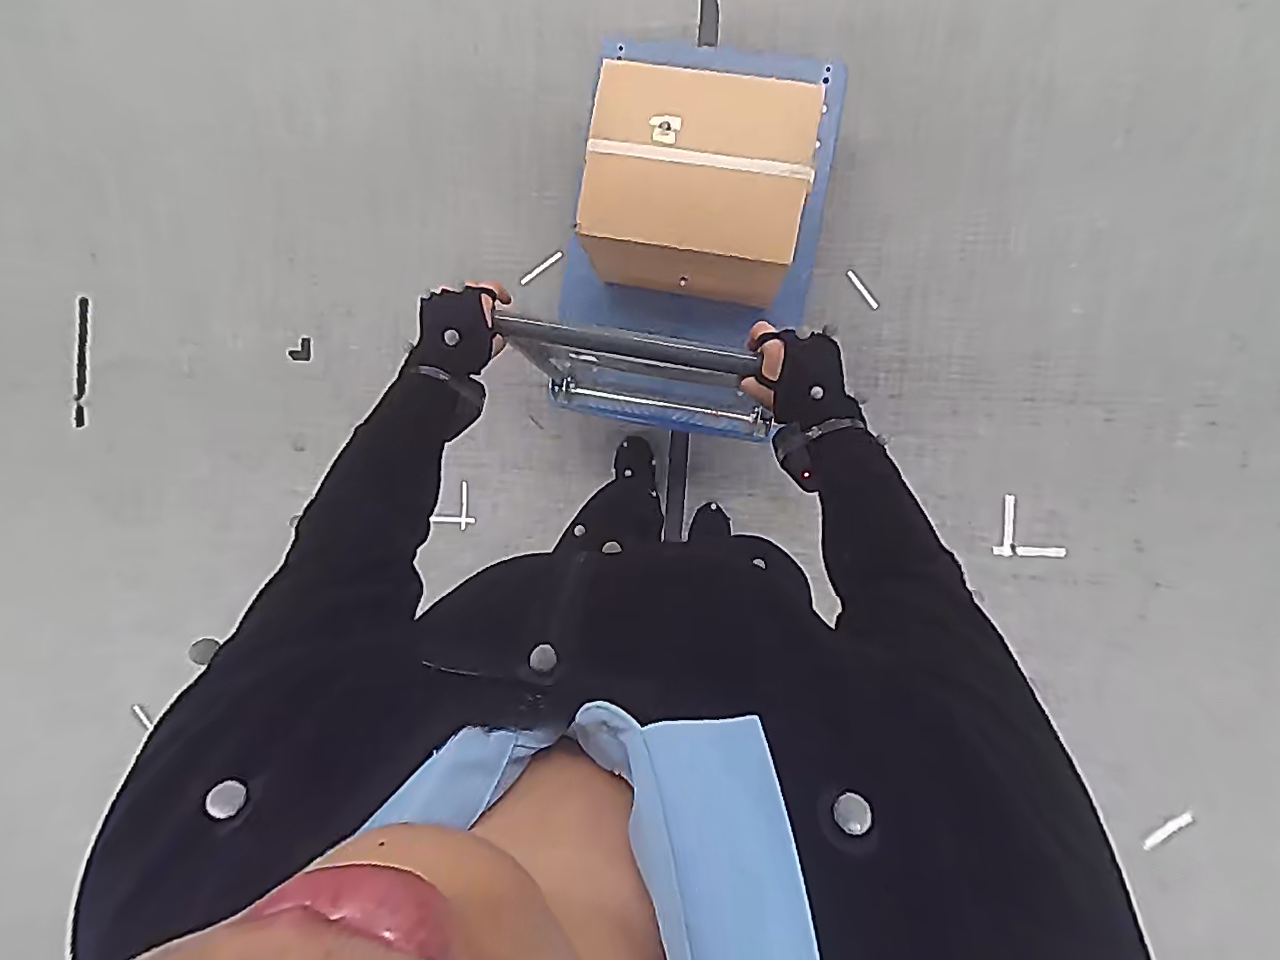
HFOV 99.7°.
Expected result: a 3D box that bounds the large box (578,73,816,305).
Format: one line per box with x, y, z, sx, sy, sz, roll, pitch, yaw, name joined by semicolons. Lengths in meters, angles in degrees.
0.119;-0.584;1.144;0.408;0.320;0.320;11;93;6;large box
